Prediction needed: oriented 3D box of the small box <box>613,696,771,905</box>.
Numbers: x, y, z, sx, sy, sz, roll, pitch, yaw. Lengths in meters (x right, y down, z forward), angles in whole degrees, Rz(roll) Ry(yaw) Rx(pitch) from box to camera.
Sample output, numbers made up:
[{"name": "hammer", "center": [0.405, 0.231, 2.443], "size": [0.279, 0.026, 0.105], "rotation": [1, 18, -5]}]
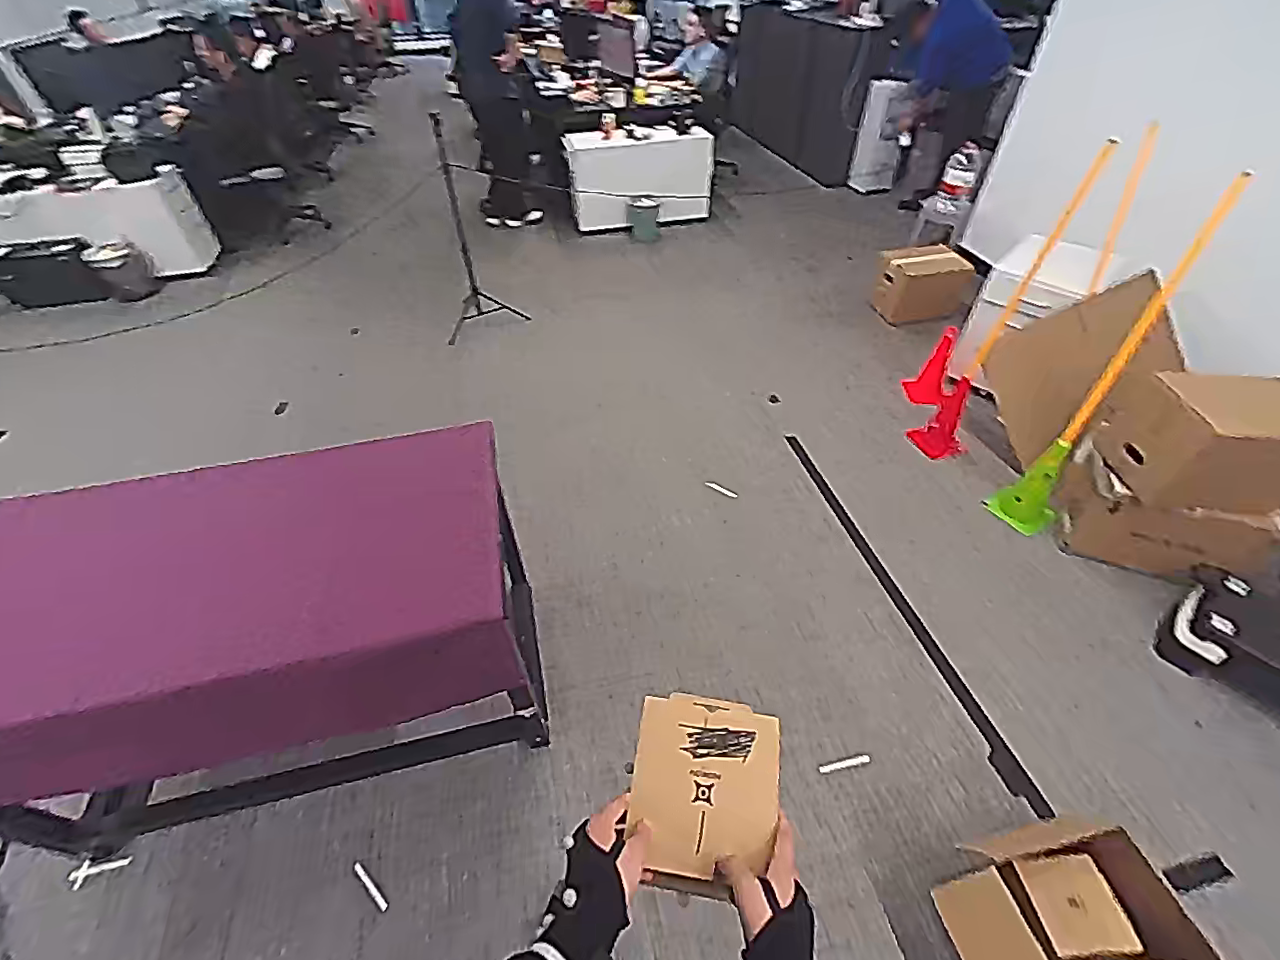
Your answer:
[{"name": "small box", "center": [0.063, 0.393, 0.662], "size": [0.168, 0.176, 0.179], "rotation": [7, 49, 6]}]
